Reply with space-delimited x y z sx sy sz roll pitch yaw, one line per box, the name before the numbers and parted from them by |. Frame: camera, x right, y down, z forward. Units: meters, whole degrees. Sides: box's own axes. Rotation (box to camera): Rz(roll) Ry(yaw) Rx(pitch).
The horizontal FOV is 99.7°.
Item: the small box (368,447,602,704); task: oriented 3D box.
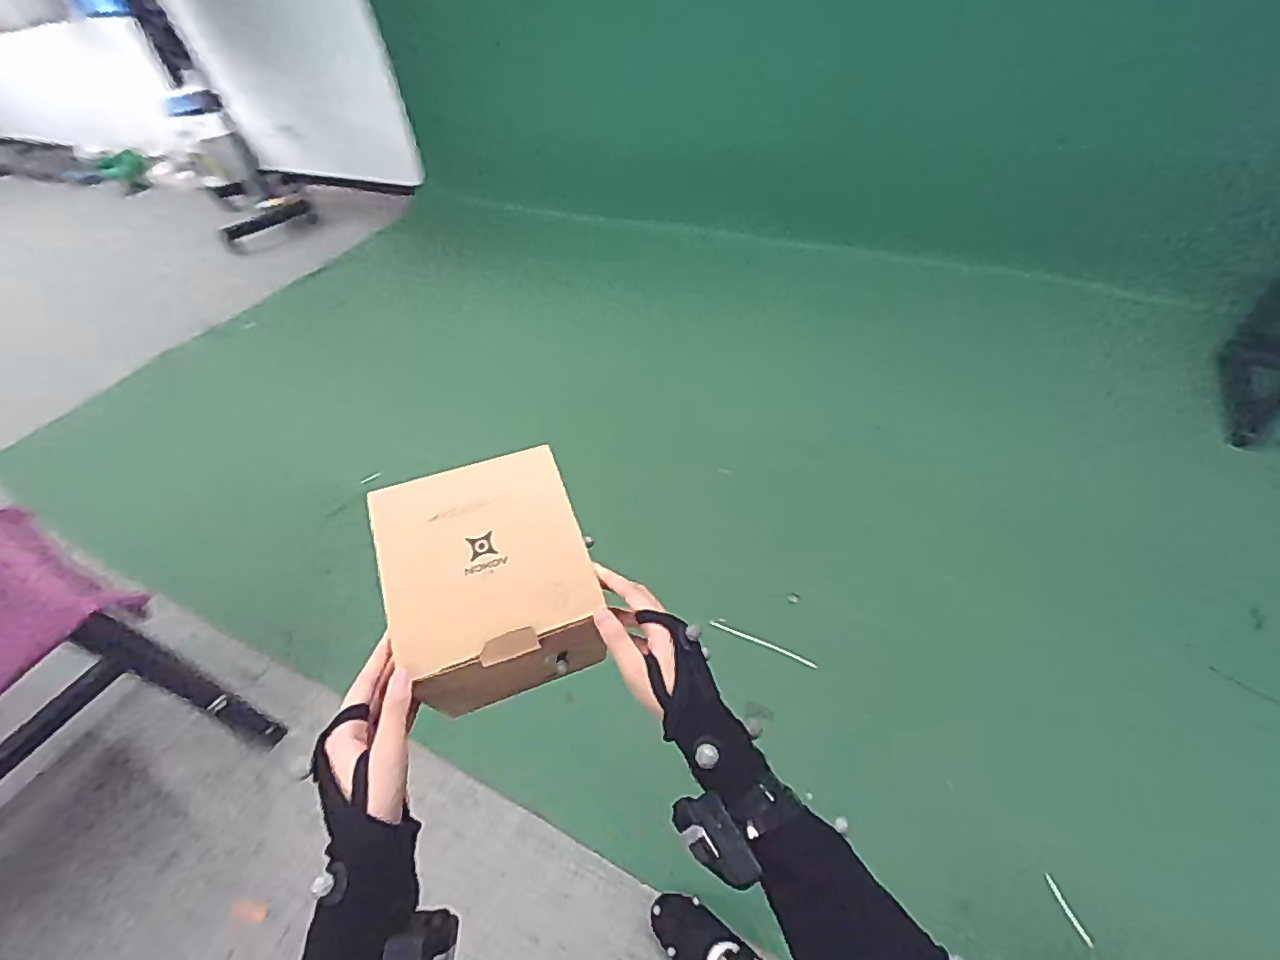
small box | -0.139 0.100 0.522 0.168 0.176 0.179 -16 61 -15
